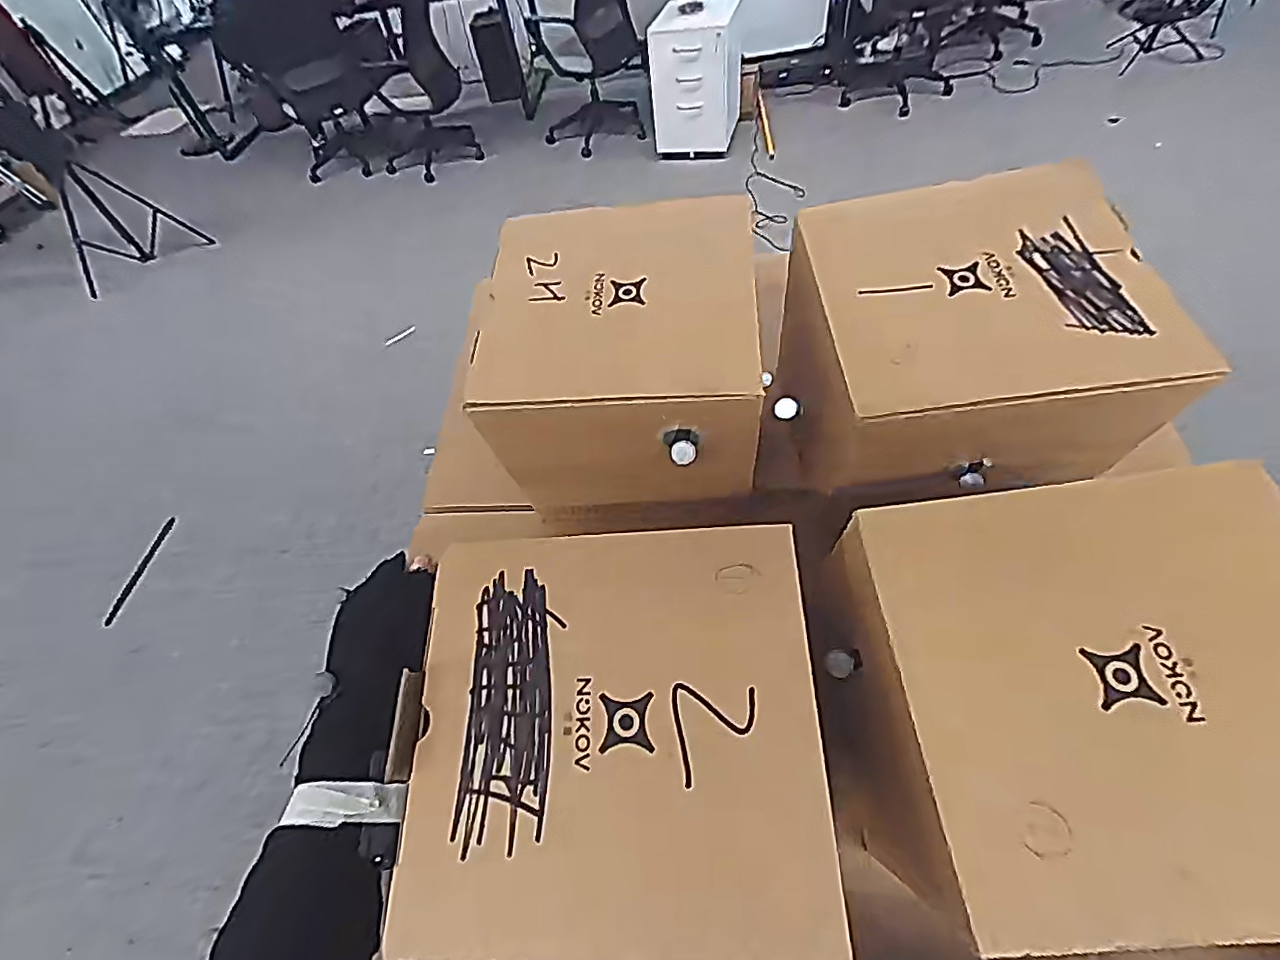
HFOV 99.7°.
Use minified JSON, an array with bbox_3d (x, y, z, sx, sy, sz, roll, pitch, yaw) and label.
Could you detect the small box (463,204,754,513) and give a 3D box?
[{"bbox_3d":[-0.007,-0.082,0.422,0.179,0.176,0.168,-1,62,9],"label":"small box"}]
